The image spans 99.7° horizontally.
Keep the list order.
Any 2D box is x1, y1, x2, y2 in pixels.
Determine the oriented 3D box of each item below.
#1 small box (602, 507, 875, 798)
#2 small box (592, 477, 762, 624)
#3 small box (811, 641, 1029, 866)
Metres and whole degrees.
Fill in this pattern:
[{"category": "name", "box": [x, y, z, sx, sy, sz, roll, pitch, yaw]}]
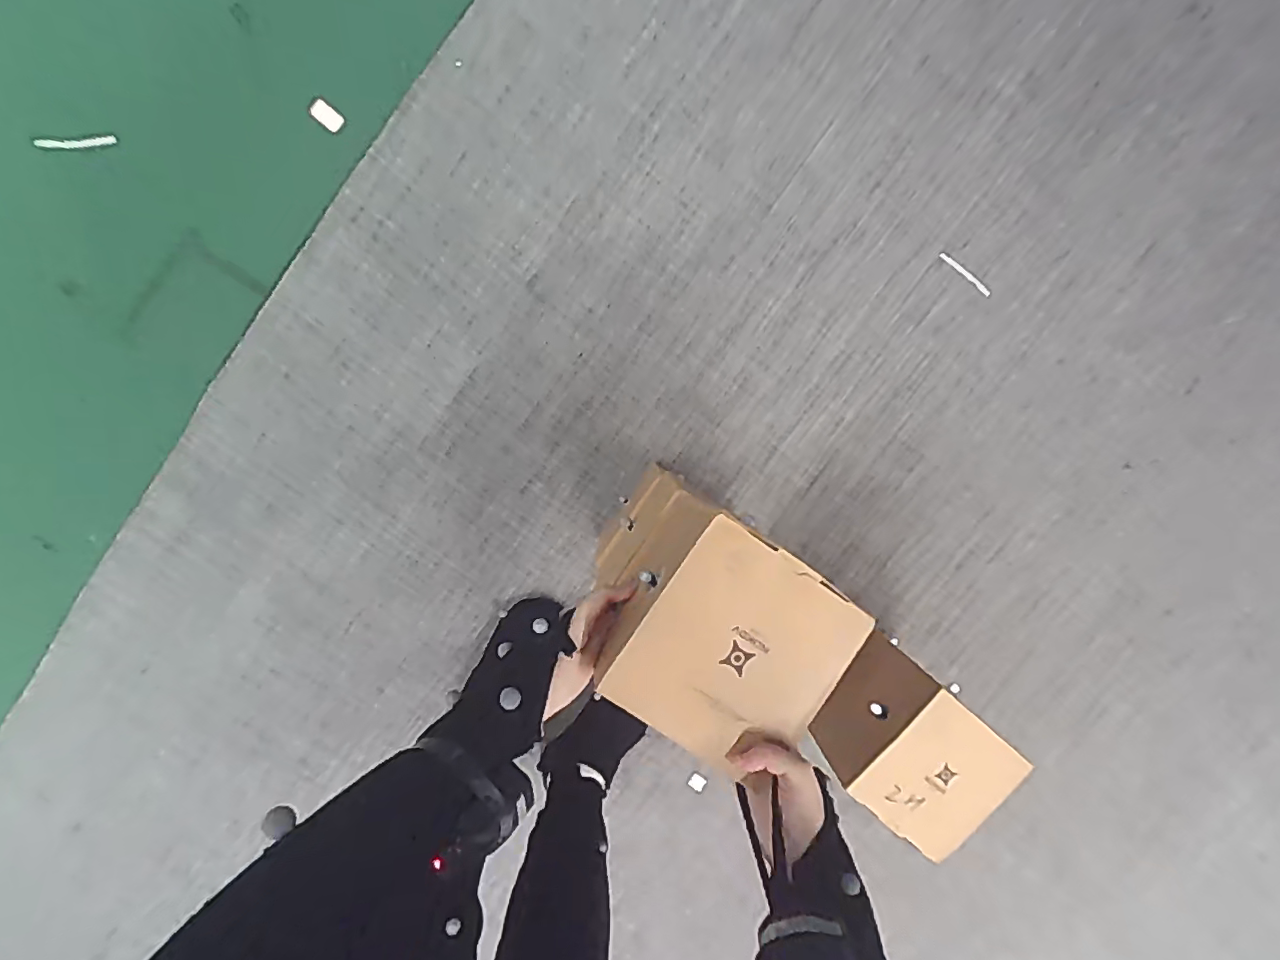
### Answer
[{"category": "small box", "box": [0.073, 0.141, 0.514, 0.168, 0.176, 0.179, 34, 89, -6]}, {"category": "small box", "box": [0.057, 0.117, 0.688, 0.168, 0.176, 0.179, 34, 95, -7]}, {"category": "small box", "box": [0.358, 0.355, 0.737, 0.168, 0.176, 0.179, 40, 94, -7]}]
